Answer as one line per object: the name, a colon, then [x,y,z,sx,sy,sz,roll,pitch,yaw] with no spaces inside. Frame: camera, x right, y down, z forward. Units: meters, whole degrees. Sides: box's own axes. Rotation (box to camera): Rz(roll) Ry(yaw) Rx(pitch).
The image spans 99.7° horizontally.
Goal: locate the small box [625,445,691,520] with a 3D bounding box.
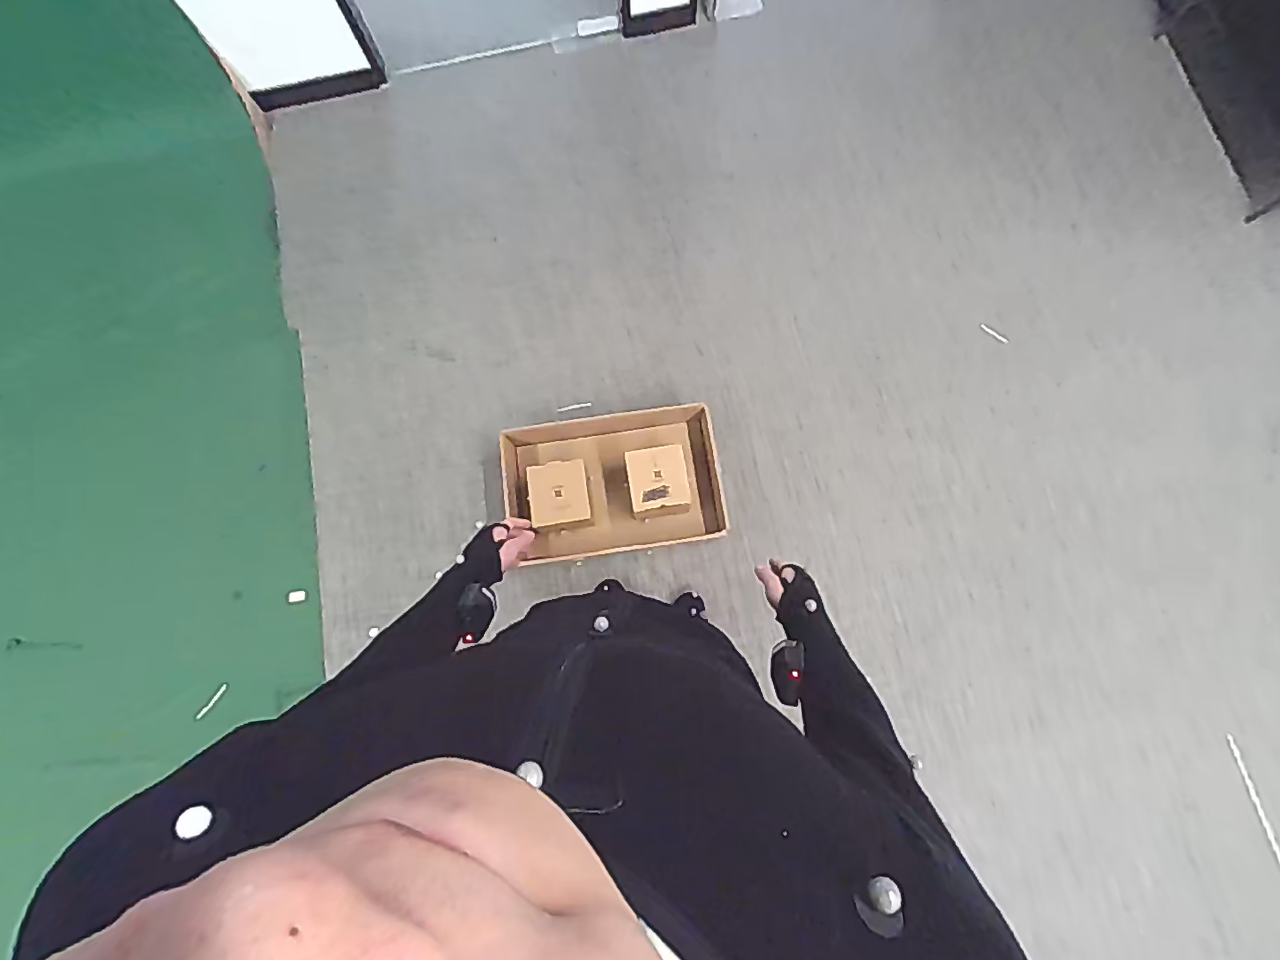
small box: [0.052,0.014,1.564,0.168,0.176,0.179,-9,76,0]
